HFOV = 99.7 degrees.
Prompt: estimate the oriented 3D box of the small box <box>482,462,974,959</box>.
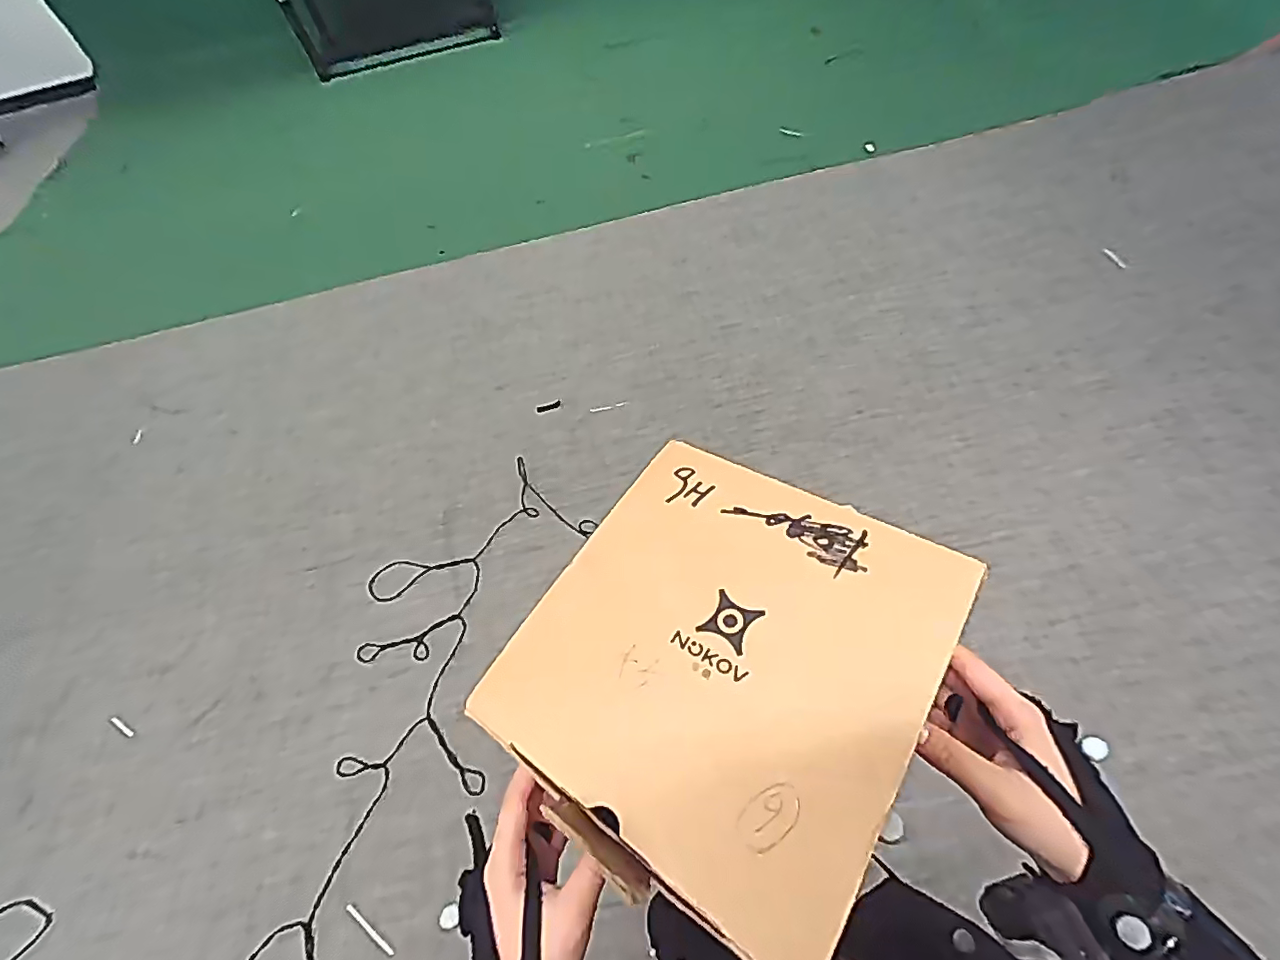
[{"bbox_3d":[0.054,0.127,0.308,0.168,0.176,0.179,25,63,28],"label":"small box"}]
